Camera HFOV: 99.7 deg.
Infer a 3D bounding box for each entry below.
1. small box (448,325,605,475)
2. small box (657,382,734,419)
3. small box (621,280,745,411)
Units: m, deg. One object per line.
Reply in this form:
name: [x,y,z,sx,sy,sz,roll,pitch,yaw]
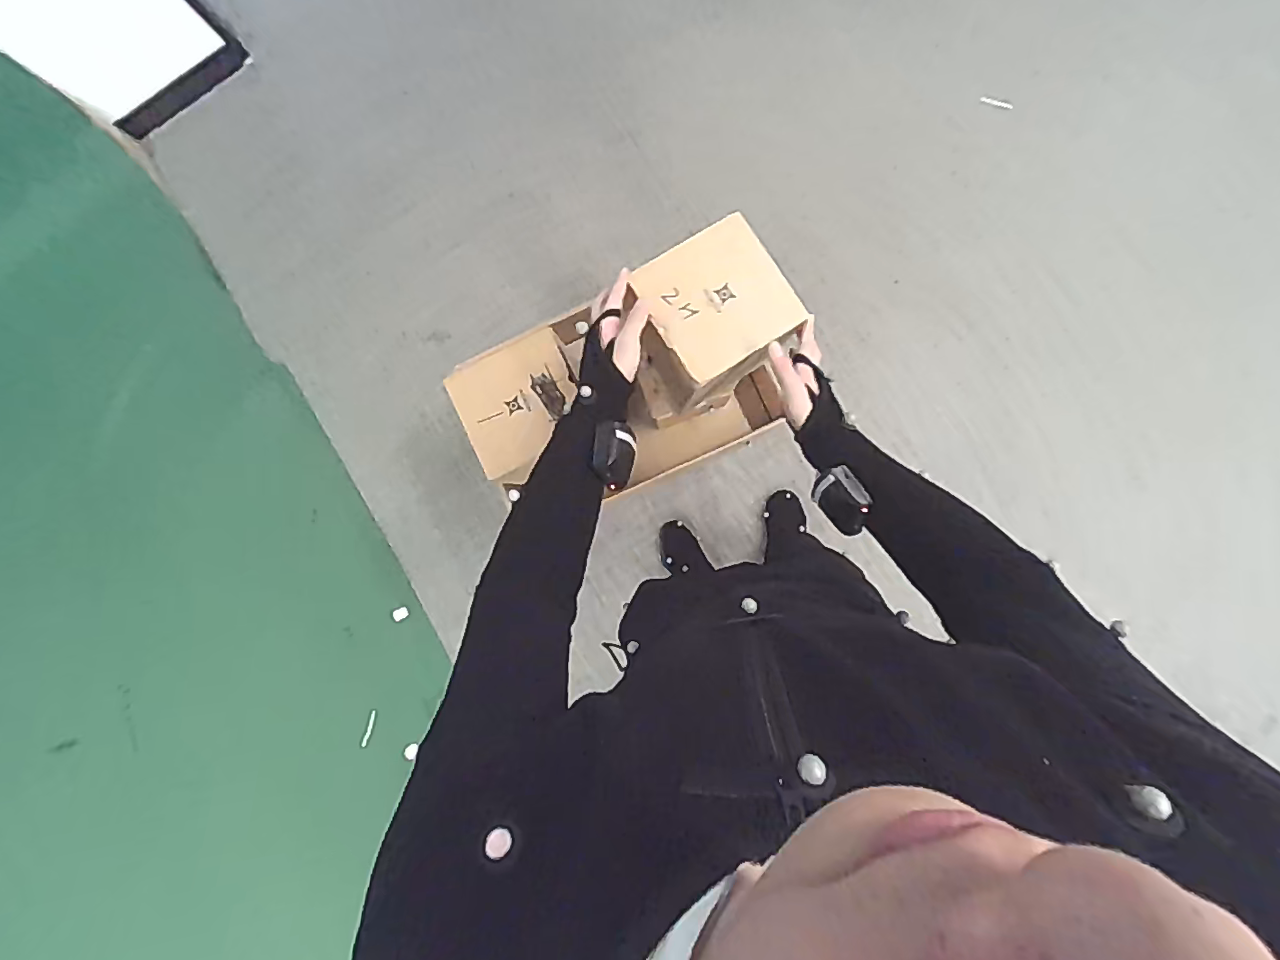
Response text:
small box: [-0.166,-0.117,0.861,0.179,0.176,0.168,-25,87,4]
small box: [0.094,-0.238,1.166,0.168,0.176,0.179,-19,88,4]
small box: [0.079,-0.239,1.005,0.179,0.176,0.168,-20,88,5]
